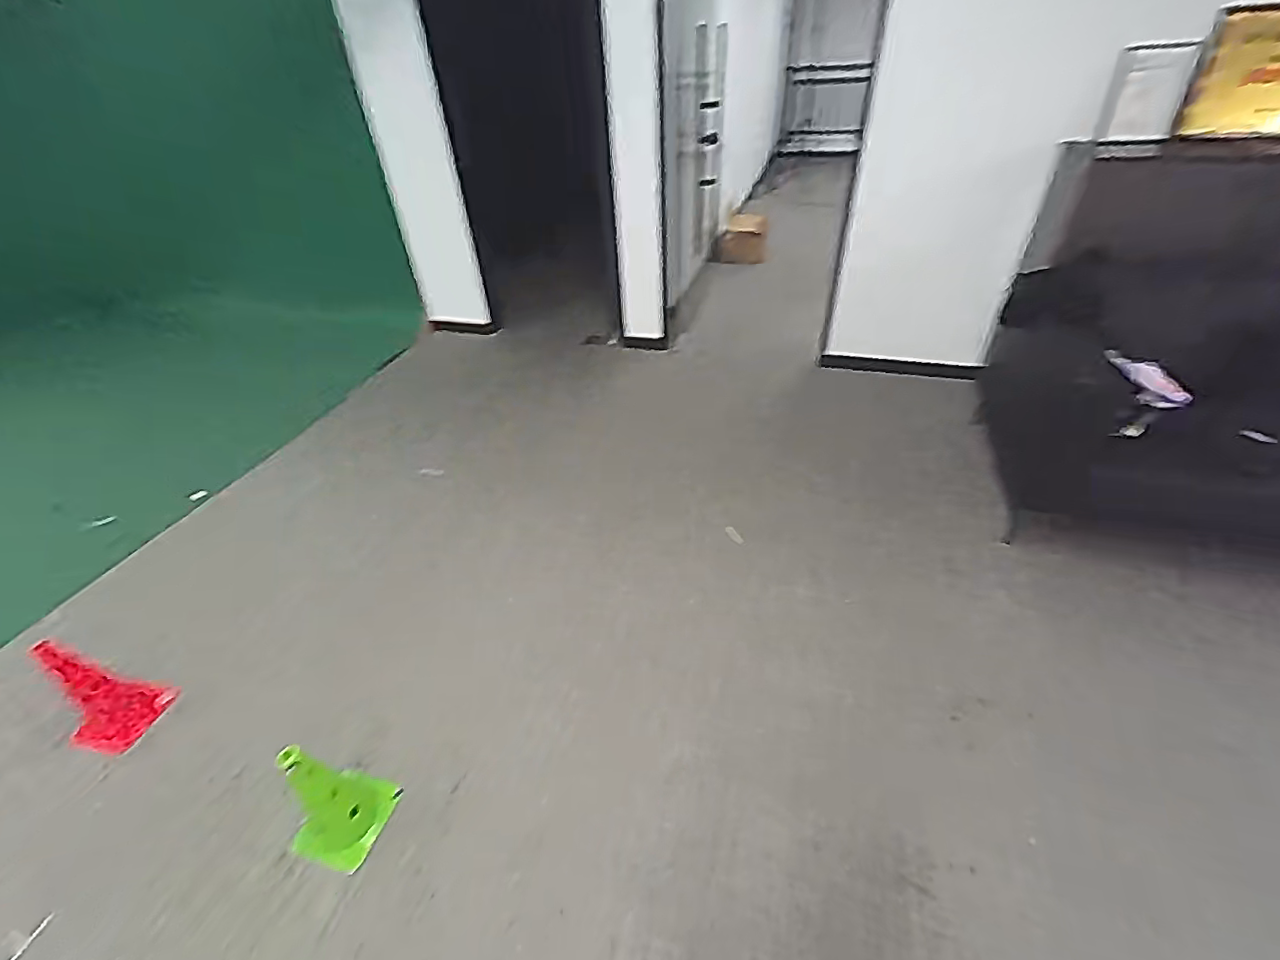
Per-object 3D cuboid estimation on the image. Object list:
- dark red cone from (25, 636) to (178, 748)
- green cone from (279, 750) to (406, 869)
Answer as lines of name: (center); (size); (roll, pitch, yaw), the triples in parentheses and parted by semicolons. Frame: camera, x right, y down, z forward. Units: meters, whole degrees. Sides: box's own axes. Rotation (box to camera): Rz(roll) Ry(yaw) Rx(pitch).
dark red cone: (-1.541, 0.565, 1.513); (0.201, 0.394, 0.202); (4, 40, 12)
green cone: (-0.745, 0.731, 1.277); (0.200, 0.368, 0.202); (8, 42, 15)
